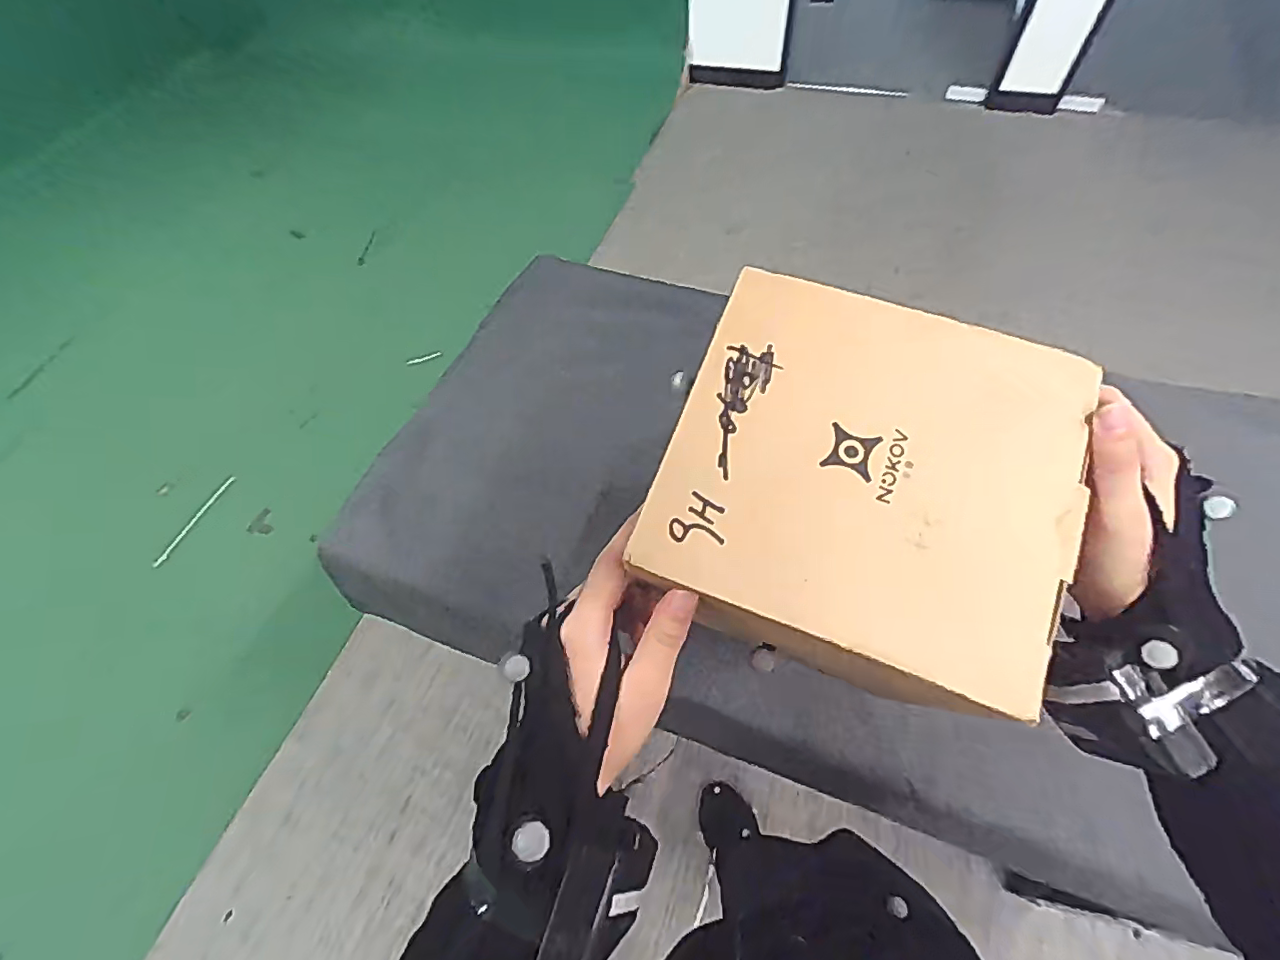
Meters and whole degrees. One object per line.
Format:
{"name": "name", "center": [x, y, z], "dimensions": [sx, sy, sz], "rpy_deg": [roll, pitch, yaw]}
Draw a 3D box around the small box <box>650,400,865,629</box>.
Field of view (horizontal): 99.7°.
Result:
{"name": "small box", "center": [0.120, 0.044, 0.577], "dimensions": [0.179, 0.176, 0.168], "rpy_deg": [13, 59, 13]}
